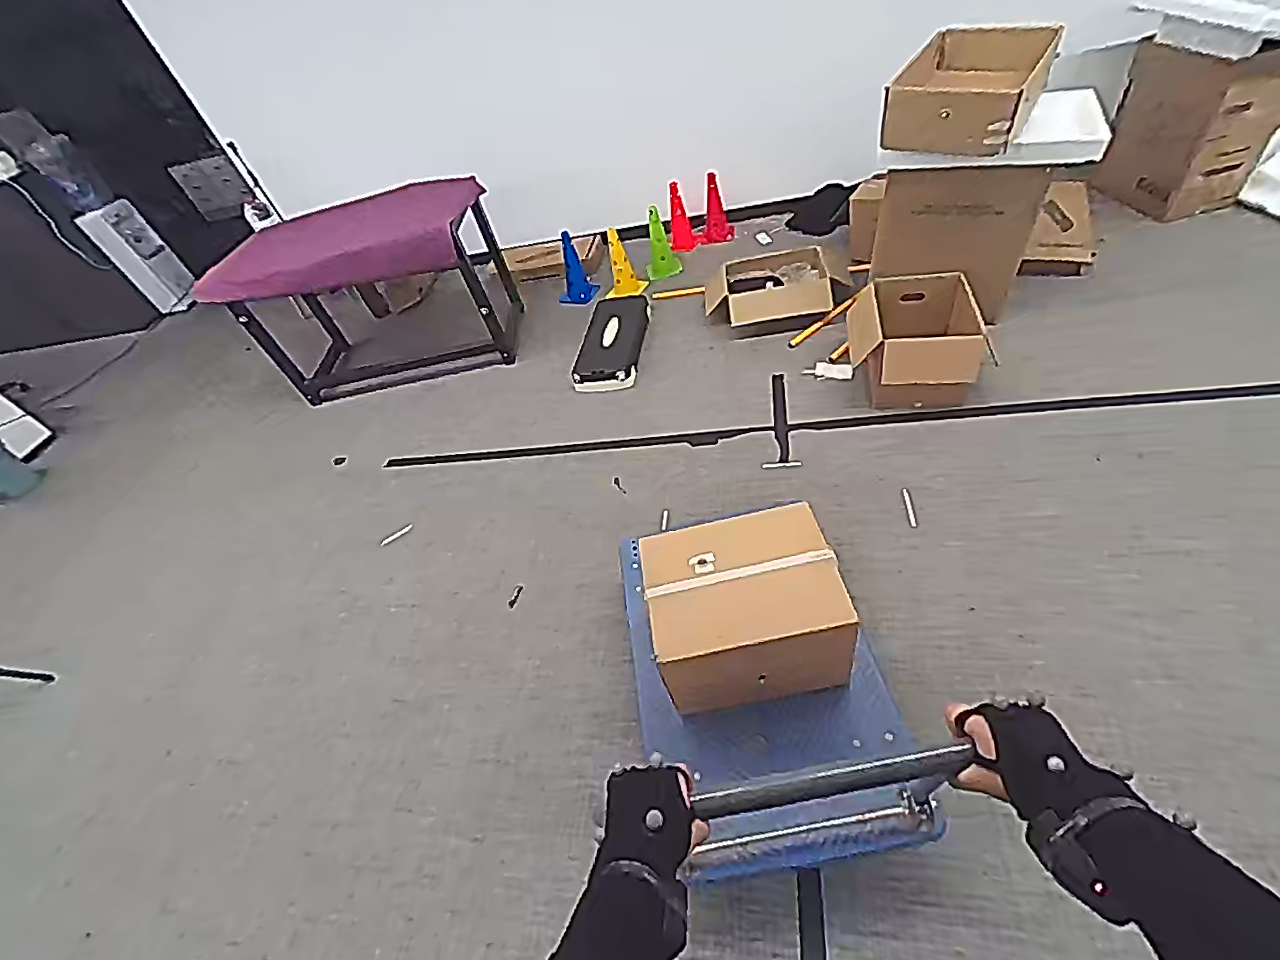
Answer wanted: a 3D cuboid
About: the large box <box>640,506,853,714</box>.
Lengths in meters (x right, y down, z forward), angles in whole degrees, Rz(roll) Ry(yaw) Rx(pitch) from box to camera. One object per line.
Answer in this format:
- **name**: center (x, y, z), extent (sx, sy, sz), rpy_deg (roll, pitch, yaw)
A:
- **large box**: center (0.244, 0.315, 1.283), extent (0.408, 0.320, 0.320), rpy_deg (-14, 45, 5)
